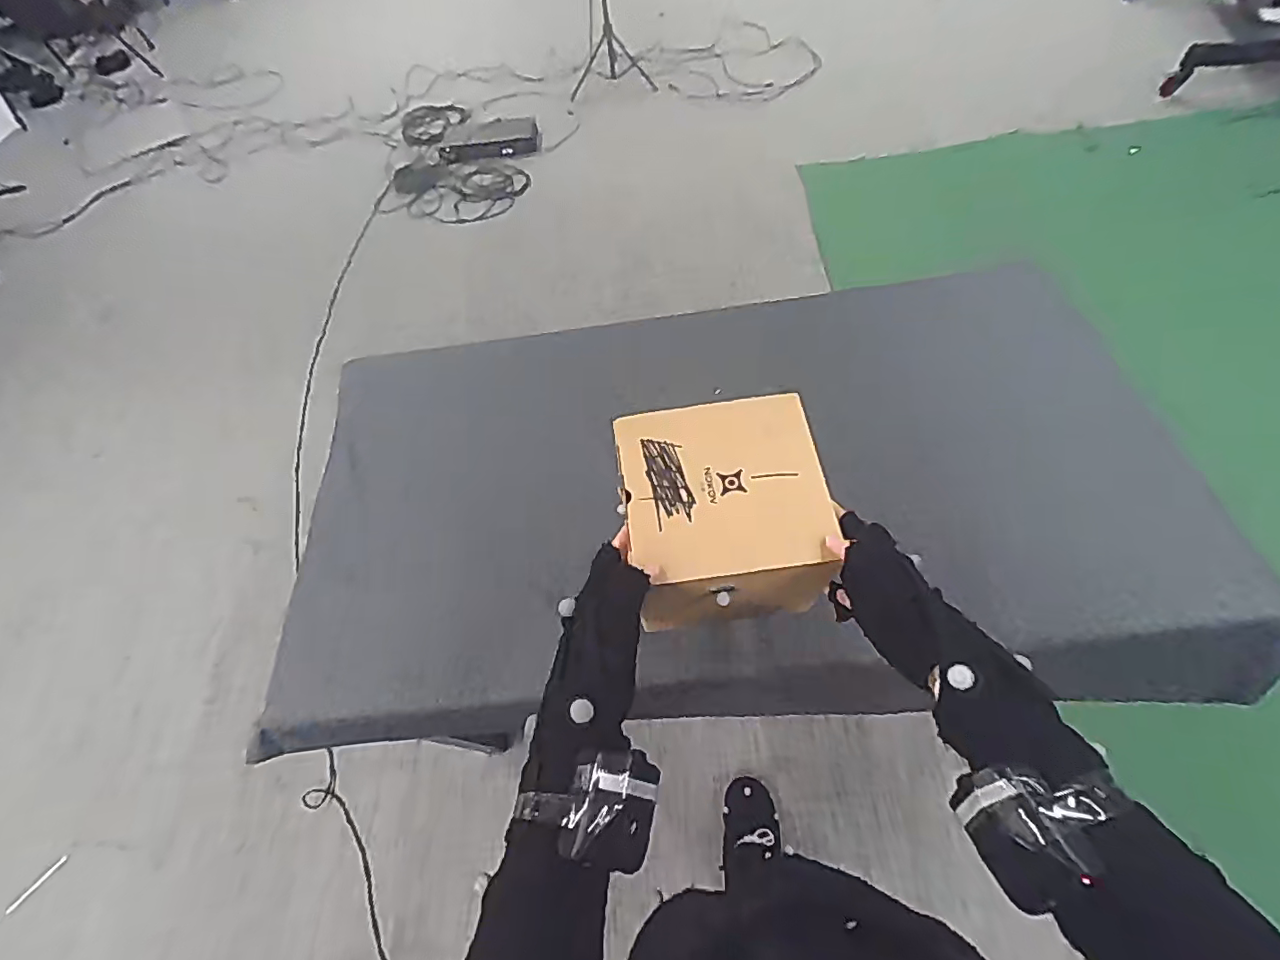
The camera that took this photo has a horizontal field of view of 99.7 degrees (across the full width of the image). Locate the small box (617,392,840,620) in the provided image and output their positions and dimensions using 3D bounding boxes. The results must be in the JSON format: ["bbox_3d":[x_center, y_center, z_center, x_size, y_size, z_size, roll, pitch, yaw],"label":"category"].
[{"bbox_3d":[0.079,0.036,0.551,0.179,0.176,0.168,-8,62,1],"label":"small box"}]
